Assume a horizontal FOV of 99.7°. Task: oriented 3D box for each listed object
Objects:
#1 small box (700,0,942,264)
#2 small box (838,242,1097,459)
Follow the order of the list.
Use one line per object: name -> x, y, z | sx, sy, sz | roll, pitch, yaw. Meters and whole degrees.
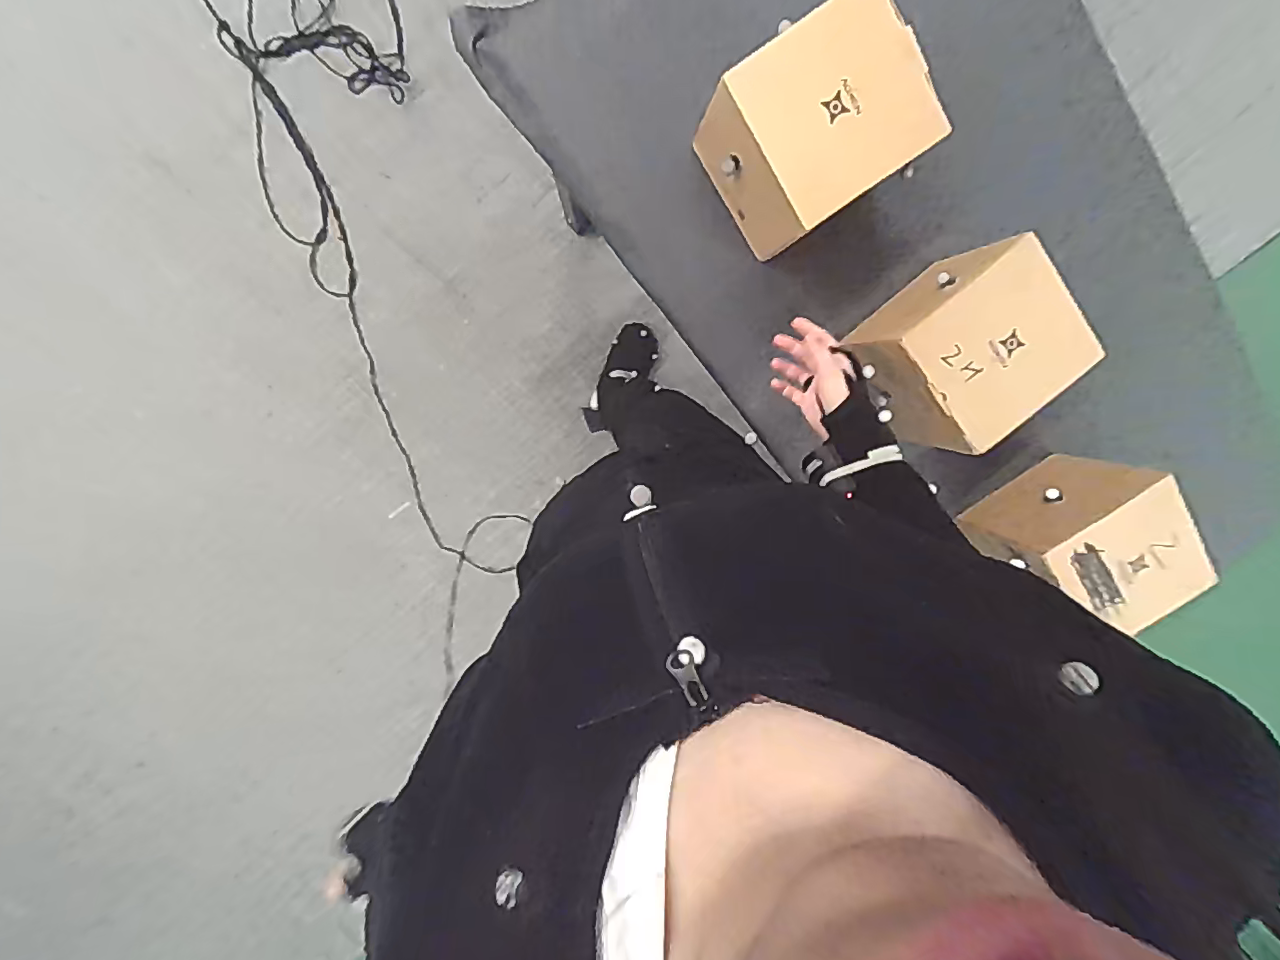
small box -> 0.183, -0.372, 0.608 | 0.179, 0.176, 0.168 | -35, 101, 2
small box -> 0.383, -0.152, 0.664 | 0.179, 0.176, 0.168 | -40, 101, 4
